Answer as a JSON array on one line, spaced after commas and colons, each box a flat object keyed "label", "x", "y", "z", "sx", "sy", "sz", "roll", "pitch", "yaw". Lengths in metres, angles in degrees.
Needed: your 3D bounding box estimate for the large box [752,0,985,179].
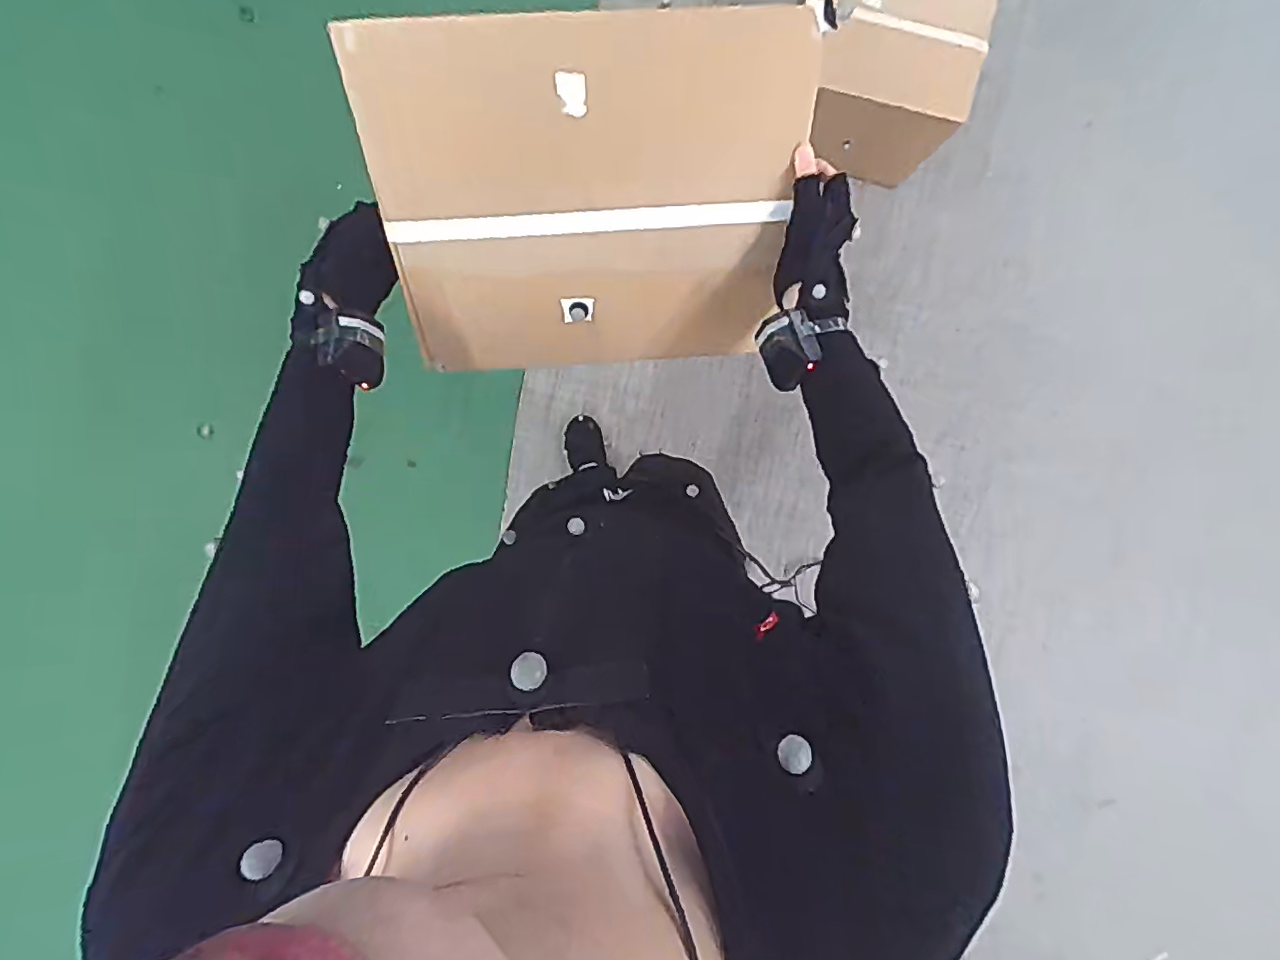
[{"label": "large box", "x": 0.526, "y": -0.987, "z": 1.306, "sx": 0.408, "sy": 0.320, "sz": 0.320, "roll": 12, "pitch": 94, "yaw": -2}]
